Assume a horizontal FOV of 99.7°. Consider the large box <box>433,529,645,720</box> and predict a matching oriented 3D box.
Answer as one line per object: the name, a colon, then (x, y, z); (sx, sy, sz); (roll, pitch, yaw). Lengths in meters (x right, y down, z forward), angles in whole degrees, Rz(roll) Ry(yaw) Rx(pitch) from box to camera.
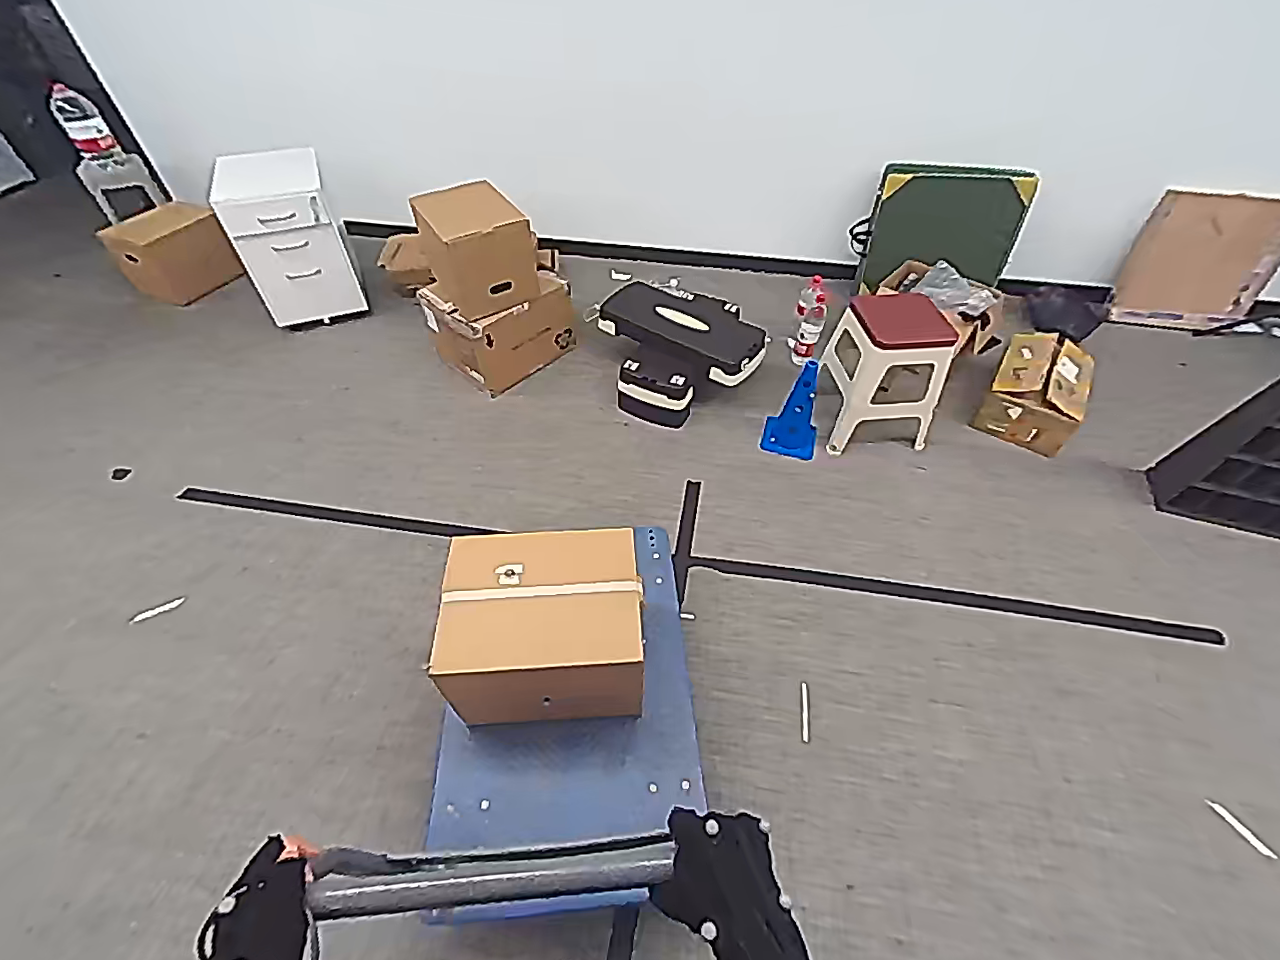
large box: (-0.201, 0.333, 1.228); (0.408, 0.320, 0.320); (-3, 49, -2)
